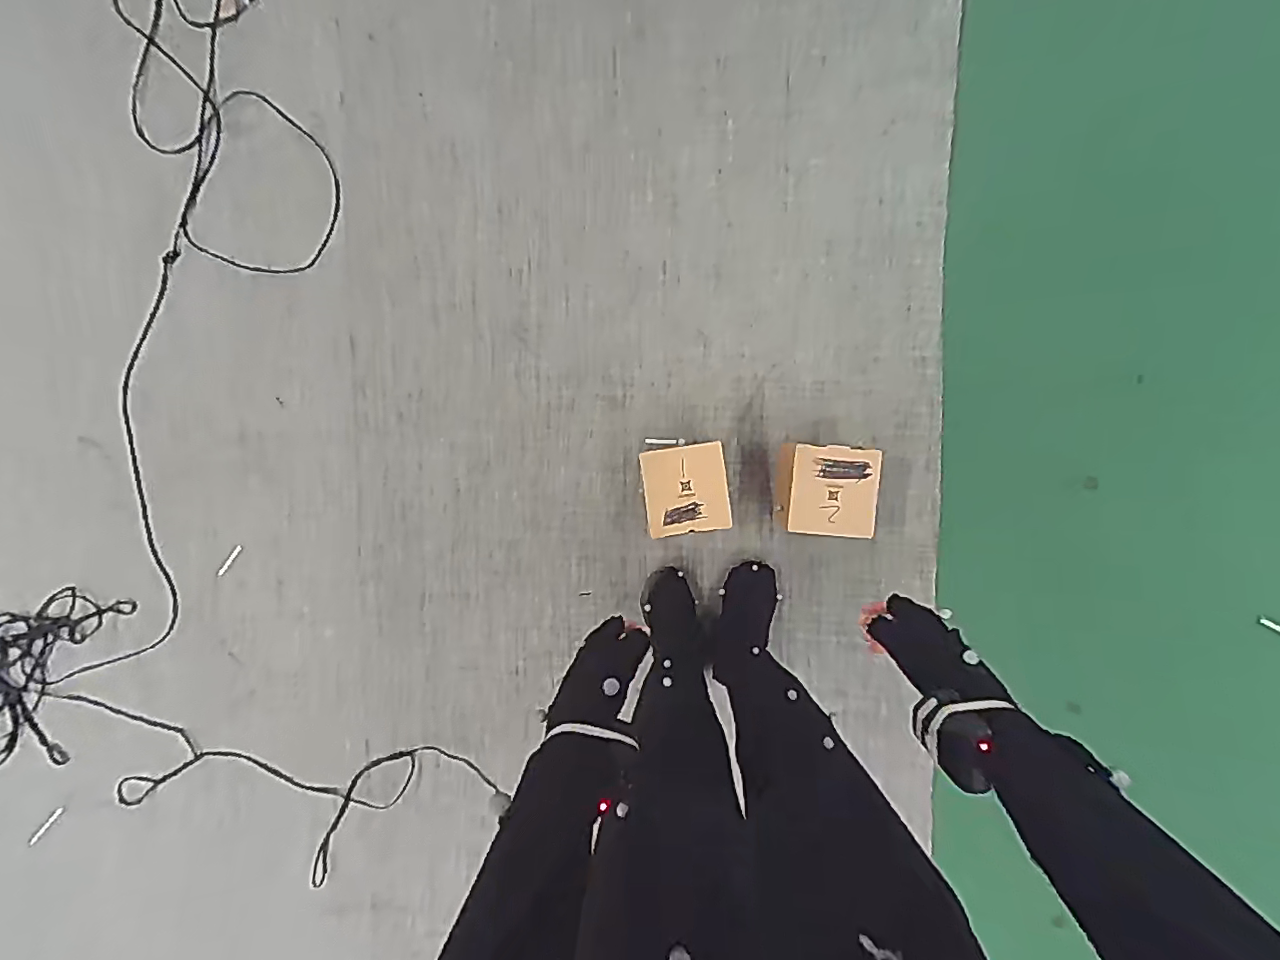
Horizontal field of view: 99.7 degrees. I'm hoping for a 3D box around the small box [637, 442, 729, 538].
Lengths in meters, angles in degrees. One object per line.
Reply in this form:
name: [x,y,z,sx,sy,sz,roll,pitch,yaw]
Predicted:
small box: [0.093,0.015,1.142,0.168,0.176,0.179,-8,92,5]
